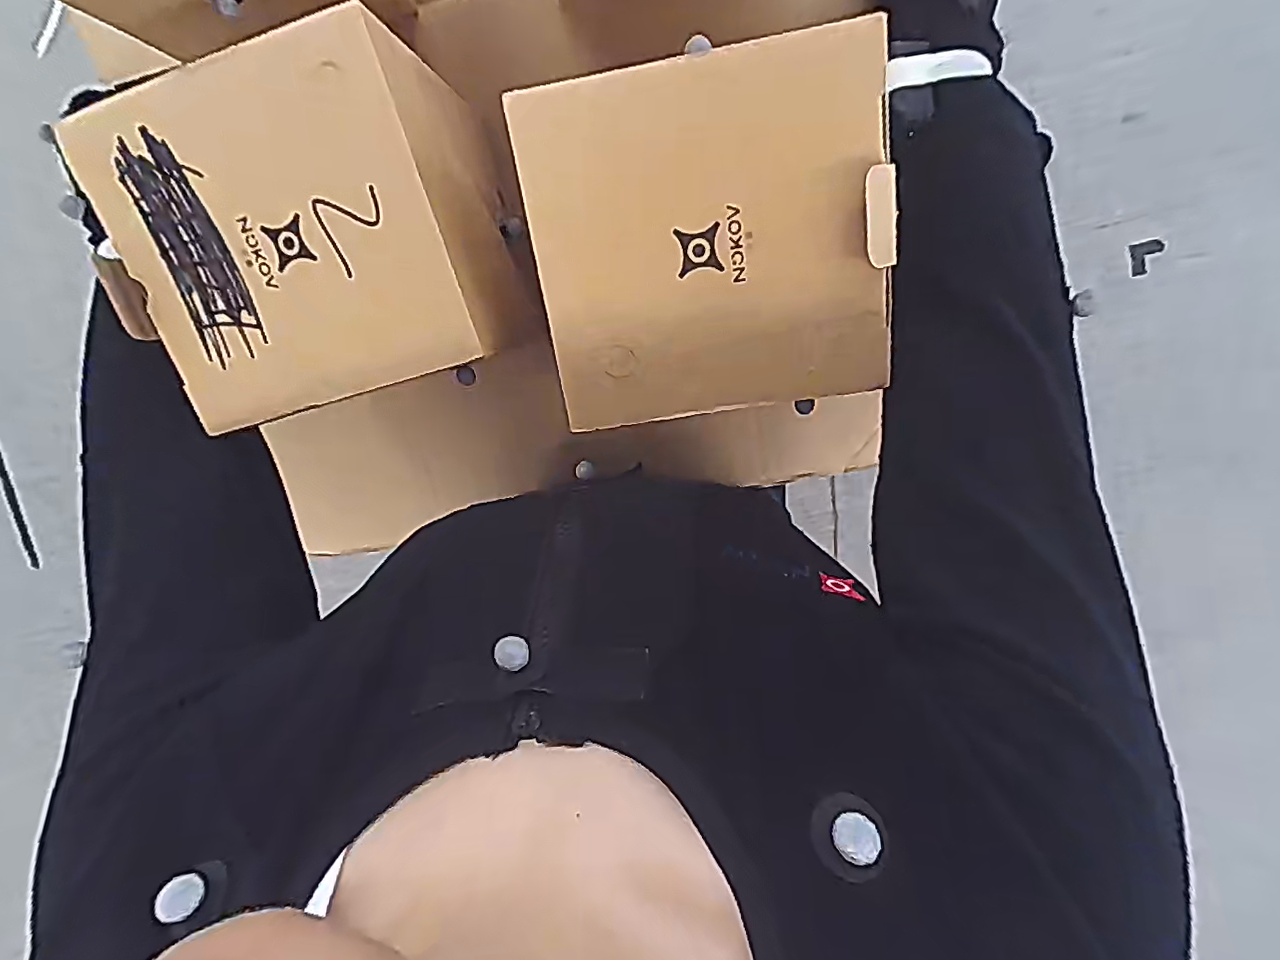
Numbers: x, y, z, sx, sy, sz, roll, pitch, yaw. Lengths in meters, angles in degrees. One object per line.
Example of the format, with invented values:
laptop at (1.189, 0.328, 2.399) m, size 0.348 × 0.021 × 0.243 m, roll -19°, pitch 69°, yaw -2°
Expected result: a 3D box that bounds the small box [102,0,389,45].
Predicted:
small box at (-0.264, -0.379, 0.292) m, size 0.168 × 0.176 × 0.179 m, roll -11°, pitch 106°, yaw 7°
